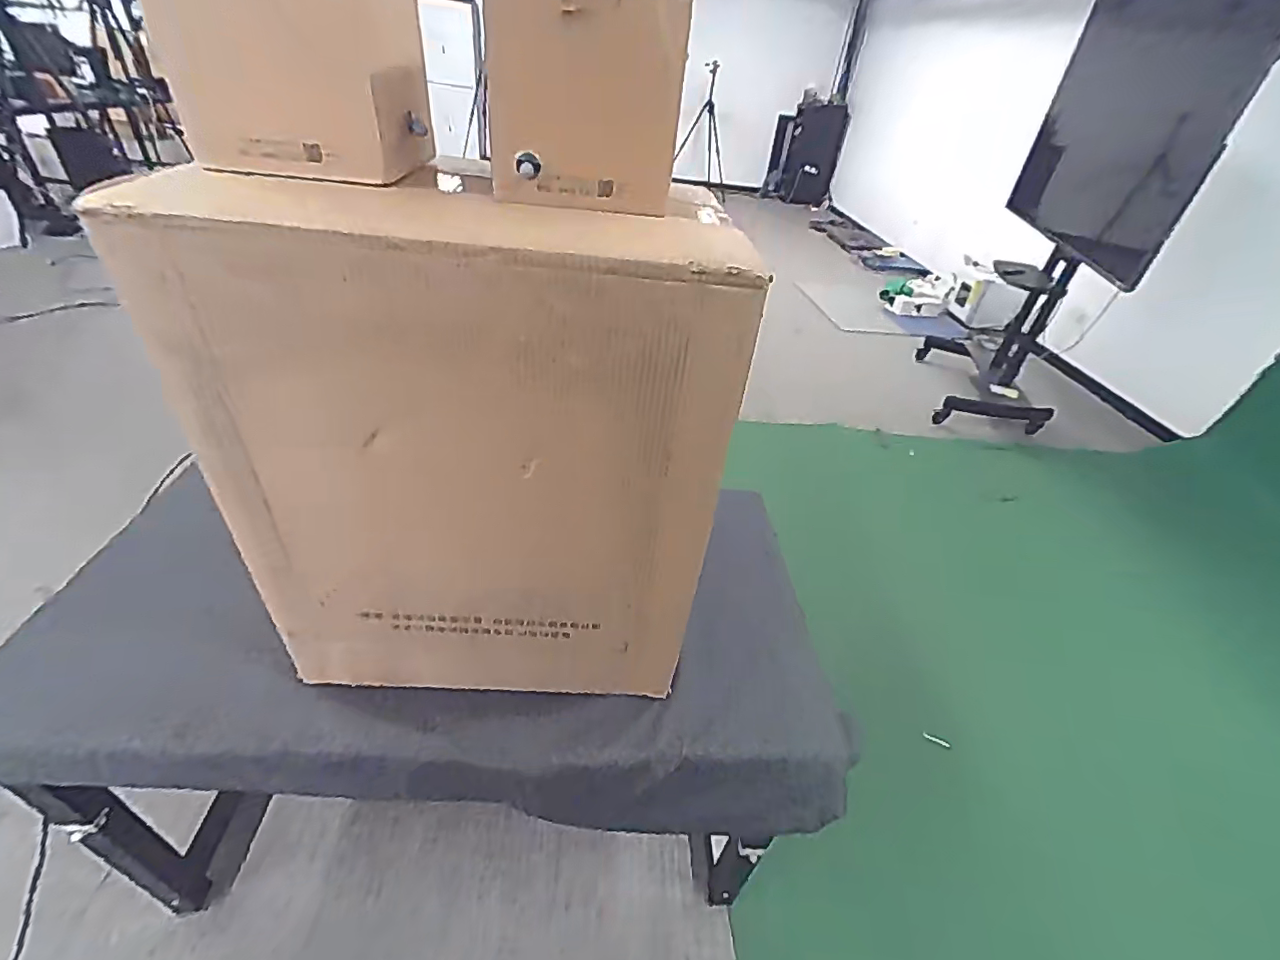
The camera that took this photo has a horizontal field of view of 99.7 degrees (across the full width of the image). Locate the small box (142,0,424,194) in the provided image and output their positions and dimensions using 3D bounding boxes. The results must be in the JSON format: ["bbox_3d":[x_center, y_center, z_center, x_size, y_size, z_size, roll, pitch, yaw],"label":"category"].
[{"bbox_3d":[-0.312,-0.381,0.503,0.168,0.176,0.179,1,38,-5],"label":"small box"}]

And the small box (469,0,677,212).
[{"bbox_3d":[-0.063,-0.372,0.525,0.168,0.176,0.179,0,39,-8],"label":"small box"}]
